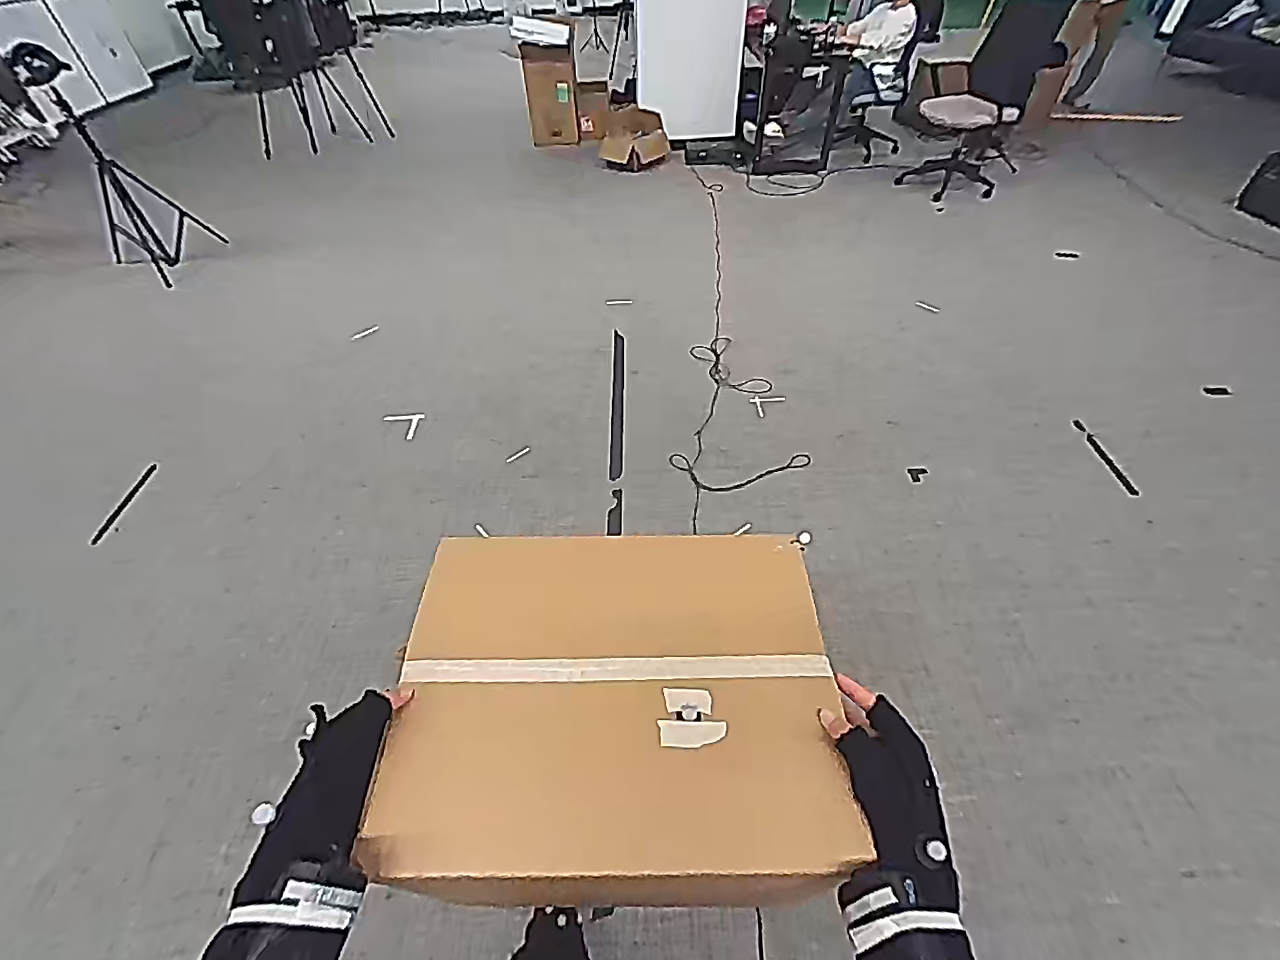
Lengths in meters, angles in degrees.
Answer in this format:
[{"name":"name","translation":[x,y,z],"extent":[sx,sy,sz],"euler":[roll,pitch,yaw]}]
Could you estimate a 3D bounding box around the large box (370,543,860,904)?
[{"name":"large box","translation":[-0.023,0.289,0.640],"extent":[0.408,0.320,0.320],"euler":[0,49,0]}]
